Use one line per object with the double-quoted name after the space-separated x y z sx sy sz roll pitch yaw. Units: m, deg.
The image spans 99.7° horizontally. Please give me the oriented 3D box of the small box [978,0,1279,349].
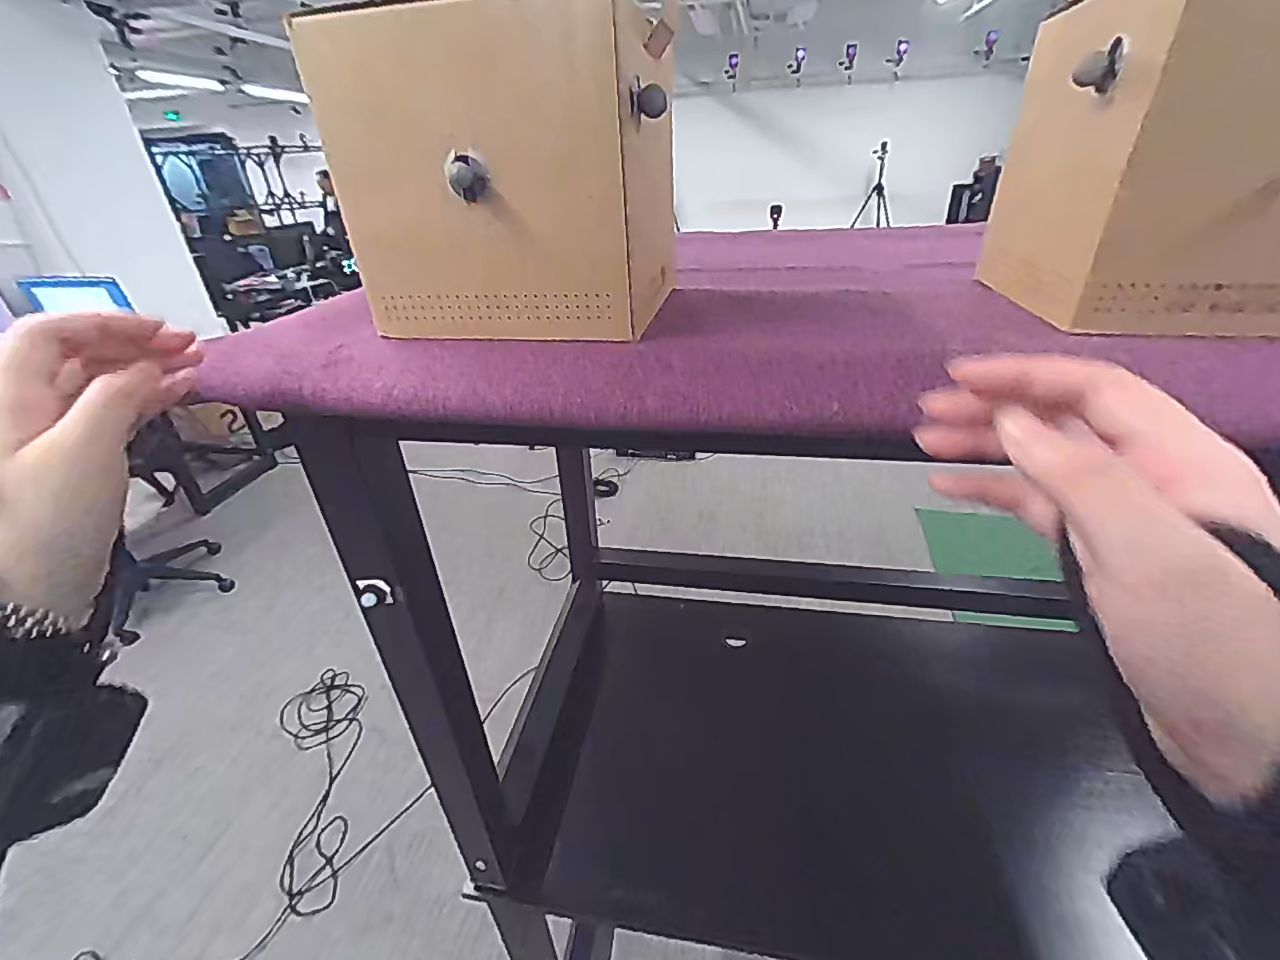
0.332 -0.181 0.318 0.168 0.176 0.179 5 31 11 "small box"
